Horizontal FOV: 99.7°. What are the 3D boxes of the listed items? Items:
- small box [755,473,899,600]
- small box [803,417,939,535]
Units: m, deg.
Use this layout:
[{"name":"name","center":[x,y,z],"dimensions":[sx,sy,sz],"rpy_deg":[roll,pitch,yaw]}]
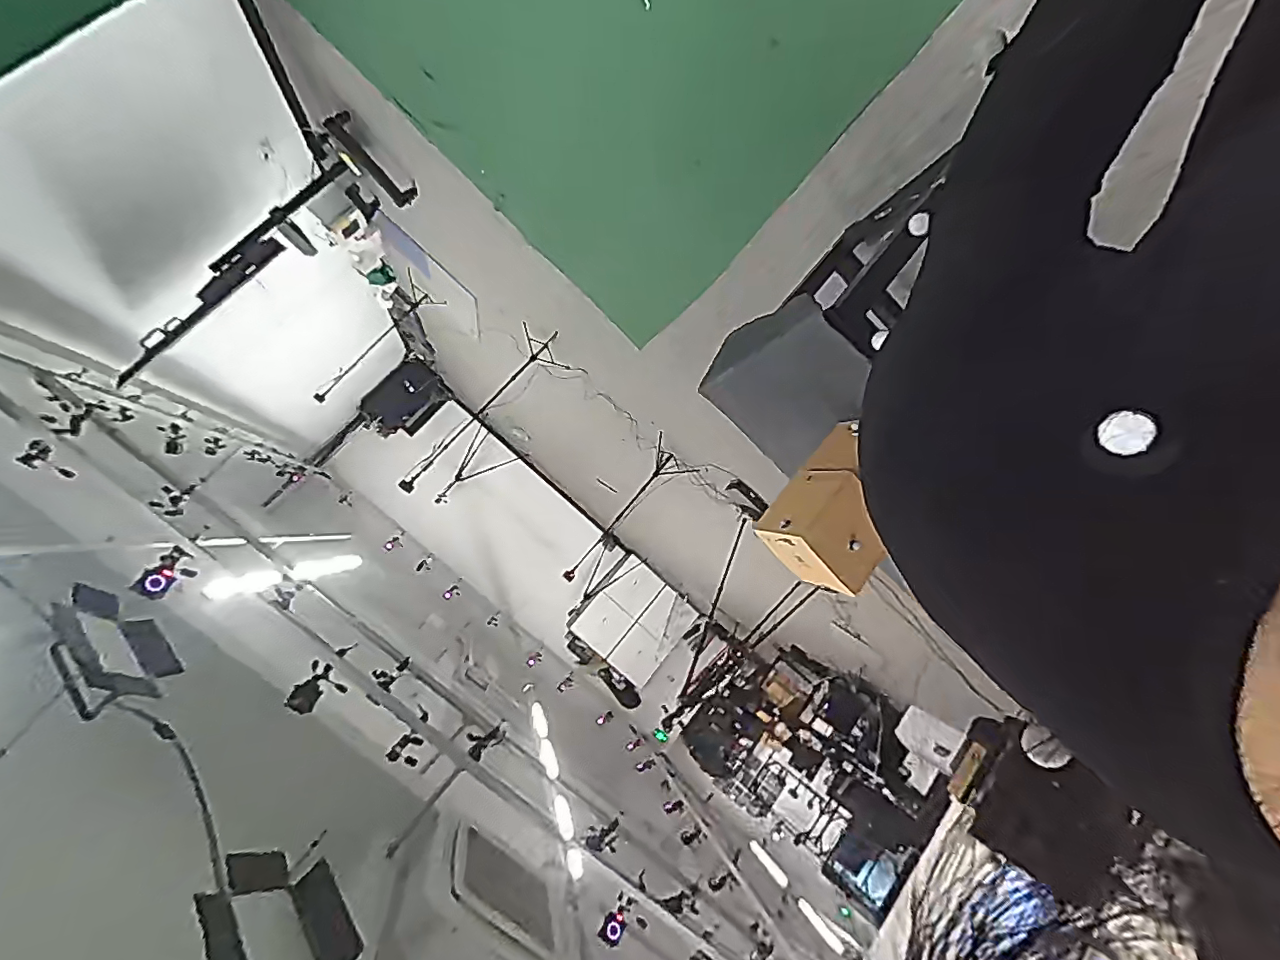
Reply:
[{"name":"small box","center":[0.372,0.105,1.071],"dimensions":[0.179,0.176,0.168],"rpy_deg":[44,166,-15]},{"name":"small box","center":[0.479,-0.008,1.128],"dimensions":[0.179,0.176,0.168],"rpy_deg":[44,165,-12]}]
